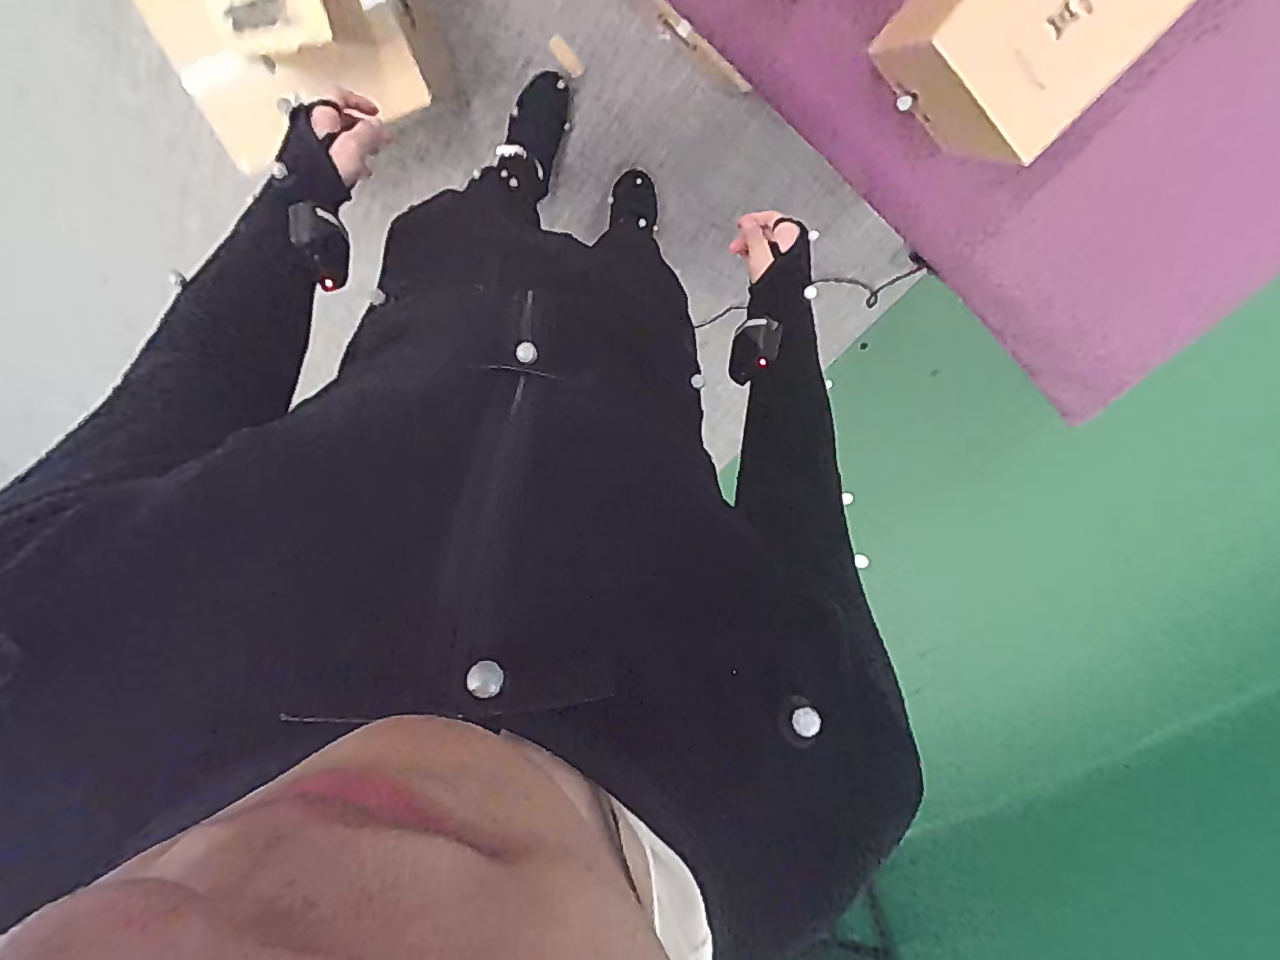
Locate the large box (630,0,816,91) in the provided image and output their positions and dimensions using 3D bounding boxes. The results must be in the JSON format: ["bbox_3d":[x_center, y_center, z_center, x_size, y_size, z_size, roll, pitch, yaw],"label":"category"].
[{"bbox_3d":[0.192,-0.995,0.958,0.320,0.320,0.408,31,119,-22],"label":"large box"}]

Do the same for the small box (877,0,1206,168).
[{"bbox_3d":[0.377,-0.452,0.539,0.168,0.176,0.179,33,118,-22],"label":"small box"}]
